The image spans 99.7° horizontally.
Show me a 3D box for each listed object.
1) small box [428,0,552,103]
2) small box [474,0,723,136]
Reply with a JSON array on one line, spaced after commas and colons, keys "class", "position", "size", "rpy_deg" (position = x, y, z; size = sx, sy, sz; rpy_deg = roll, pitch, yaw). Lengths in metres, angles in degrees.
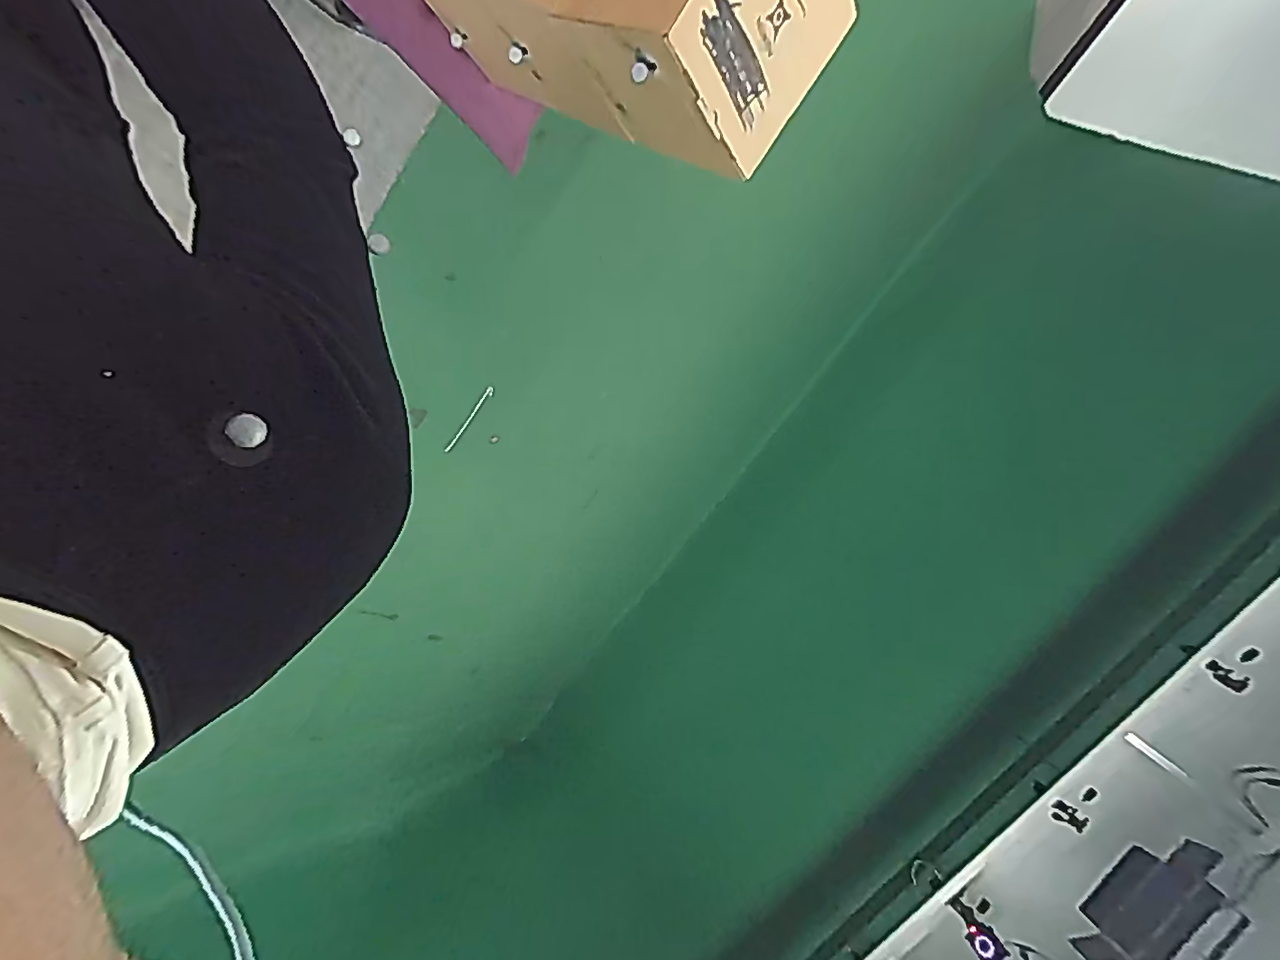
[{"class": "small box", "position": [-0.156, -0.618, 0.657], "size": [0.168, 0.176, 0.179], "rpy_deg": [-52, 150, 7]}, {"class": "small box", "position": [-0.048, -0.523, 0.578], "size": [0.179, 0.176, 0.168], "rpy_deg": [-51, 149, 7]}]
